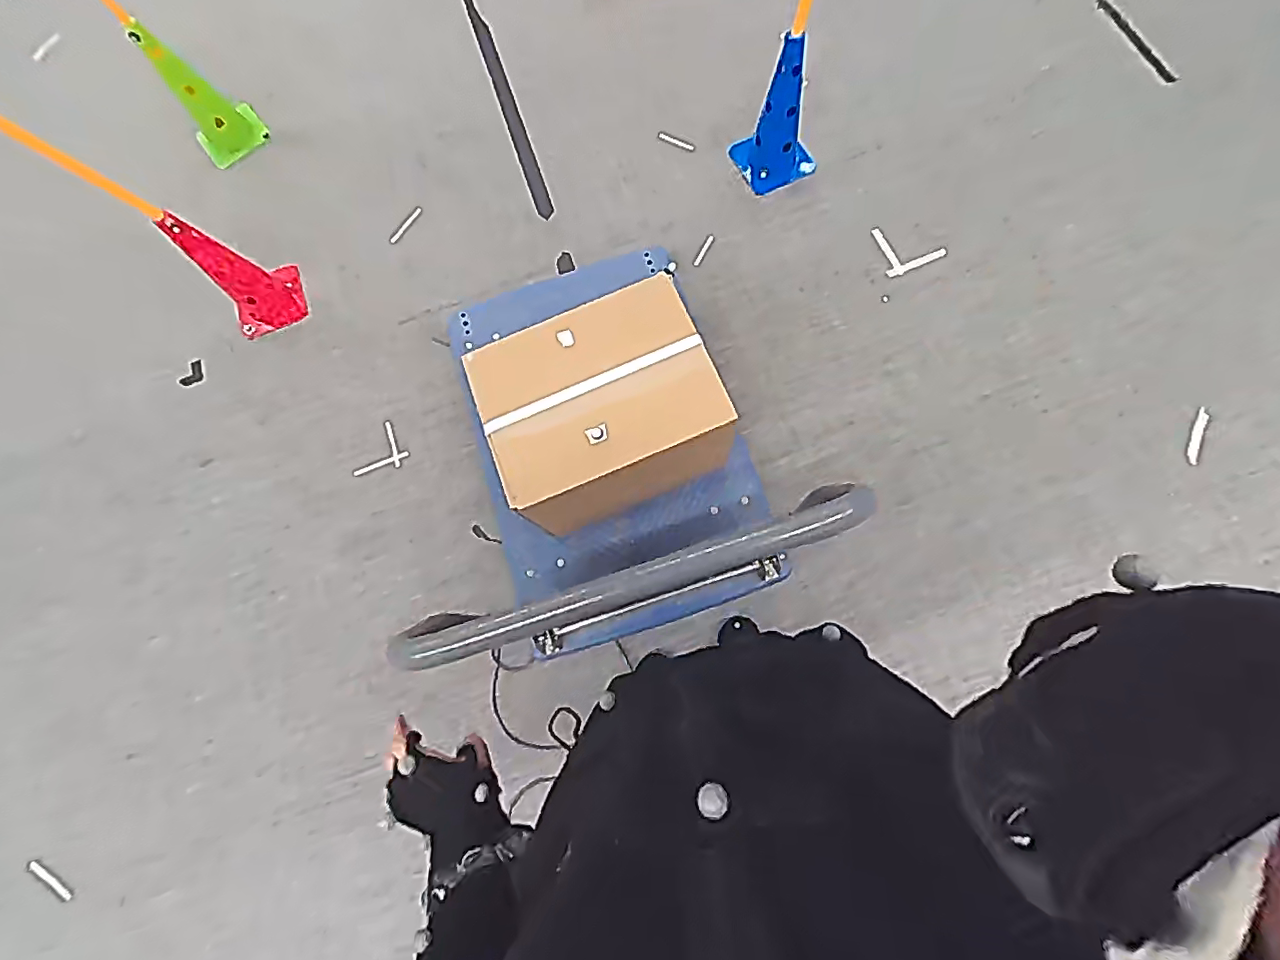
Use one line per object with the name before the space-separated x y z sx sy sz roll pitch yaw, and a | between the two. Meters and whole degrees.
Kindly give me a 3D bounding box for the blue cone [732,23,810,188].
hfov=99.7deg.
blue cone | 0.376 -0.999 1.442 0.193 0.380 0.192 -24 74 -2
